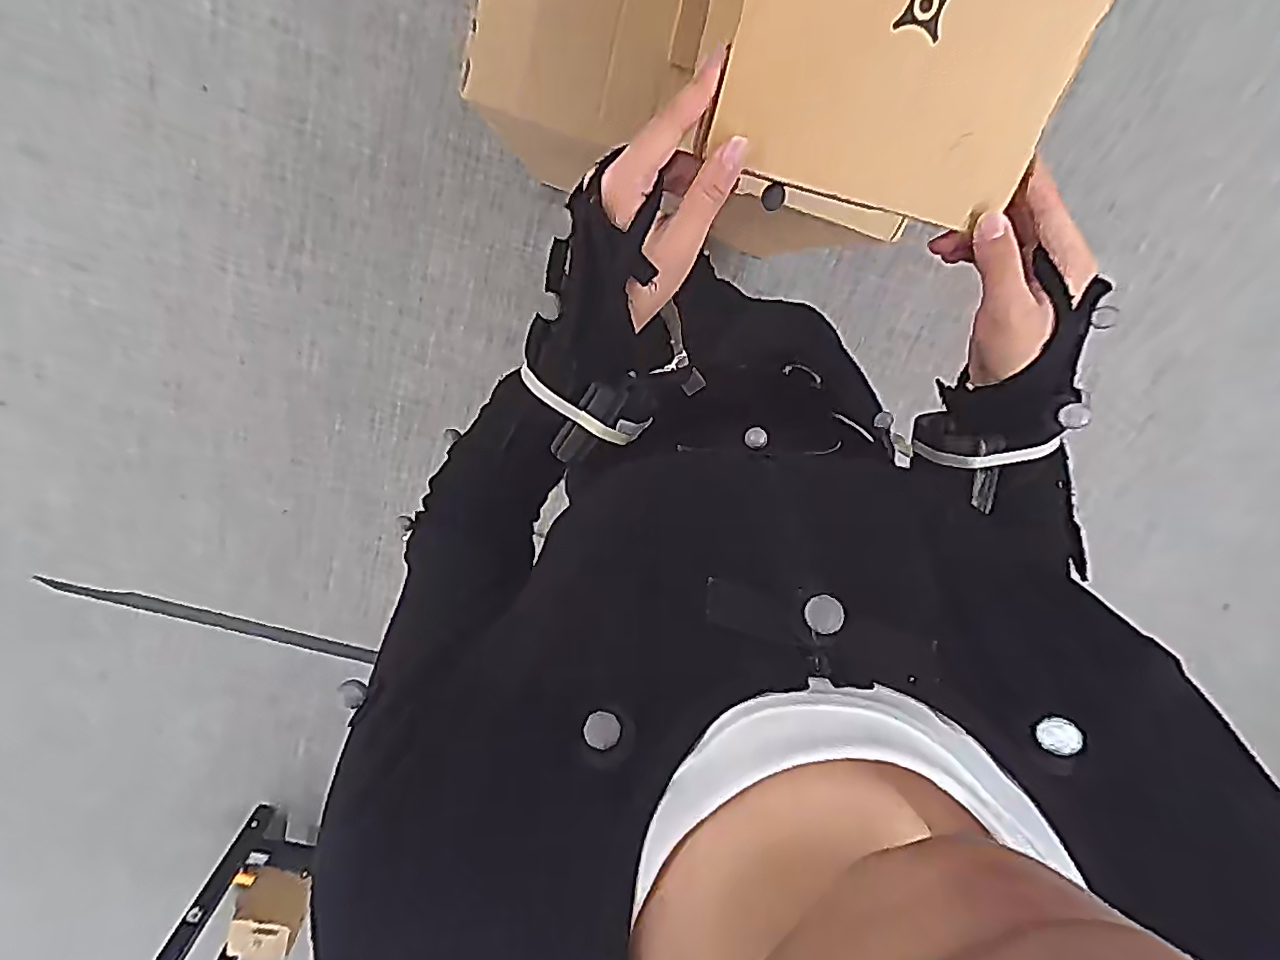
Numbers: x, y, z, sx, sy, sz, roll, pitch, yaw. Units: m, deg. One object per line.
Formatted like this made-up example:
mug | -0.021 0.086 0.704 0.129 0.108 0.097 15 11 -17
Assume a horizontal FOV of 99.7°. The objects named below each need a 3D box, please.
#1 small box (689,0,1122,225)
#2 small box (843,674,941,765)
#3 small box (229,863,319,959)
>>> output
small box | 0.129 -0.262 0.298 0.168 0.176 0.179 11 120 -8
small box | 0.738 0.705 1.604 0.179 0.176 0.168 14 109 -7
small box | -1.105 1.310 1.643 0.168 0.176 0.179 17 110 -9
